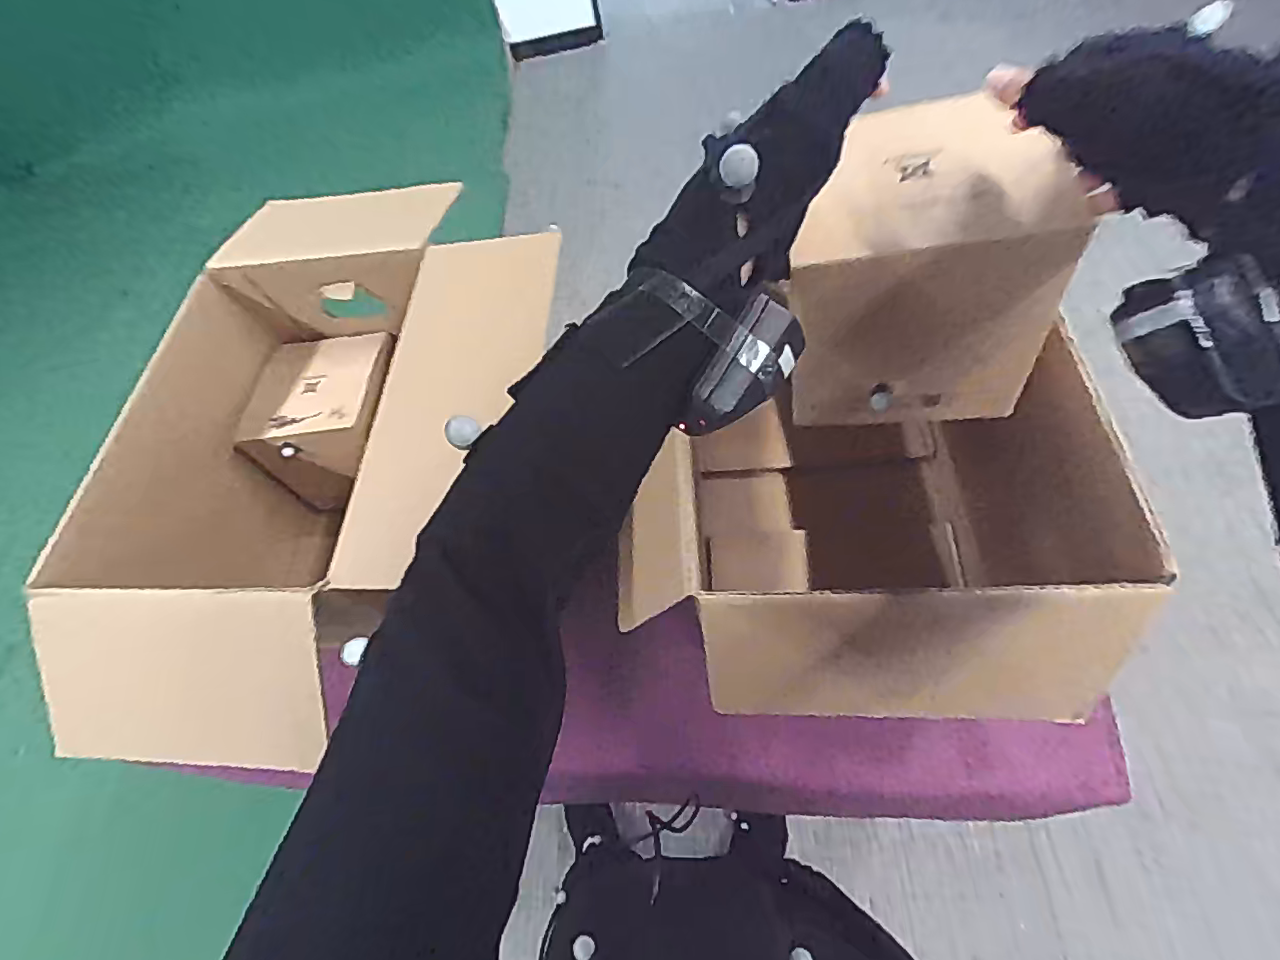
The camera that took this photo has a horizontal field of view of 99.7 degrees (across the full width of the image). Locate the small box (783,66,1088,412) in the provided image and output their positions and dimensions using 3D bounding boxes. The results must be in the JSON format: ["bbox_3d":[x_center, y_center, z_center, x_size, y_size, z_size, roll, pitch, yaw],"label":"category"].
[{"bbox_3d":[0.201,-0.175,0.427,0.168,0.176,0.179,-2,58,17],"label":"small box"}]
